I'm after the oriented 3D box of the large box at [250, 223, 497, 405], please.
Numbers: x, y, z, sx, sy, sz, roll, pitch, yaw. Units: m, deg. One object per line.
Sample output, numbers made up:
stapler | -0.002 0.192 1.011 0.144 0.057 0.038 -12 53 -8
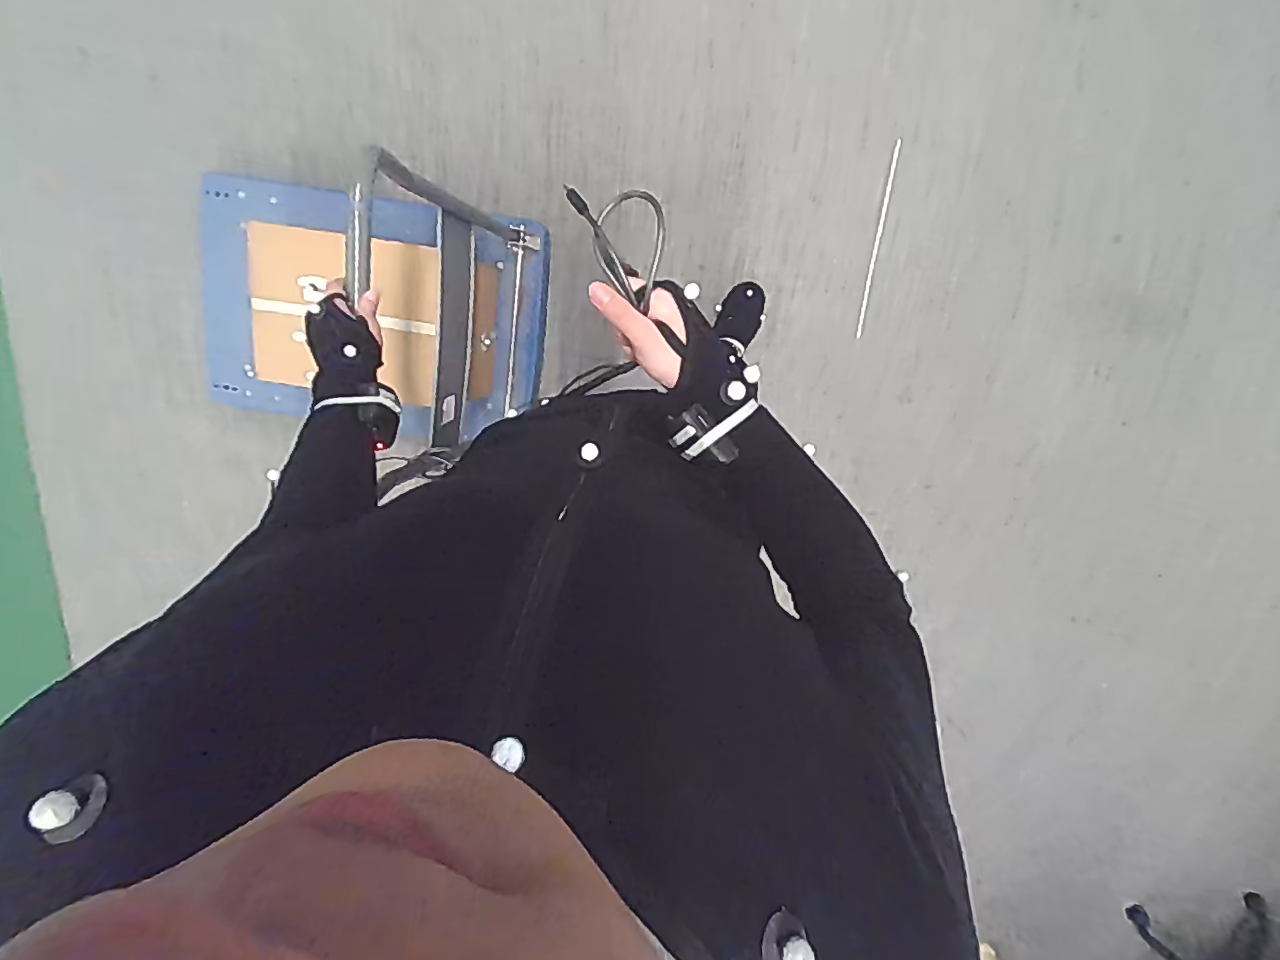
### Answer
large box | -0.571 -0.368 1.226 0.408 0.320 0.320 9 106 3
